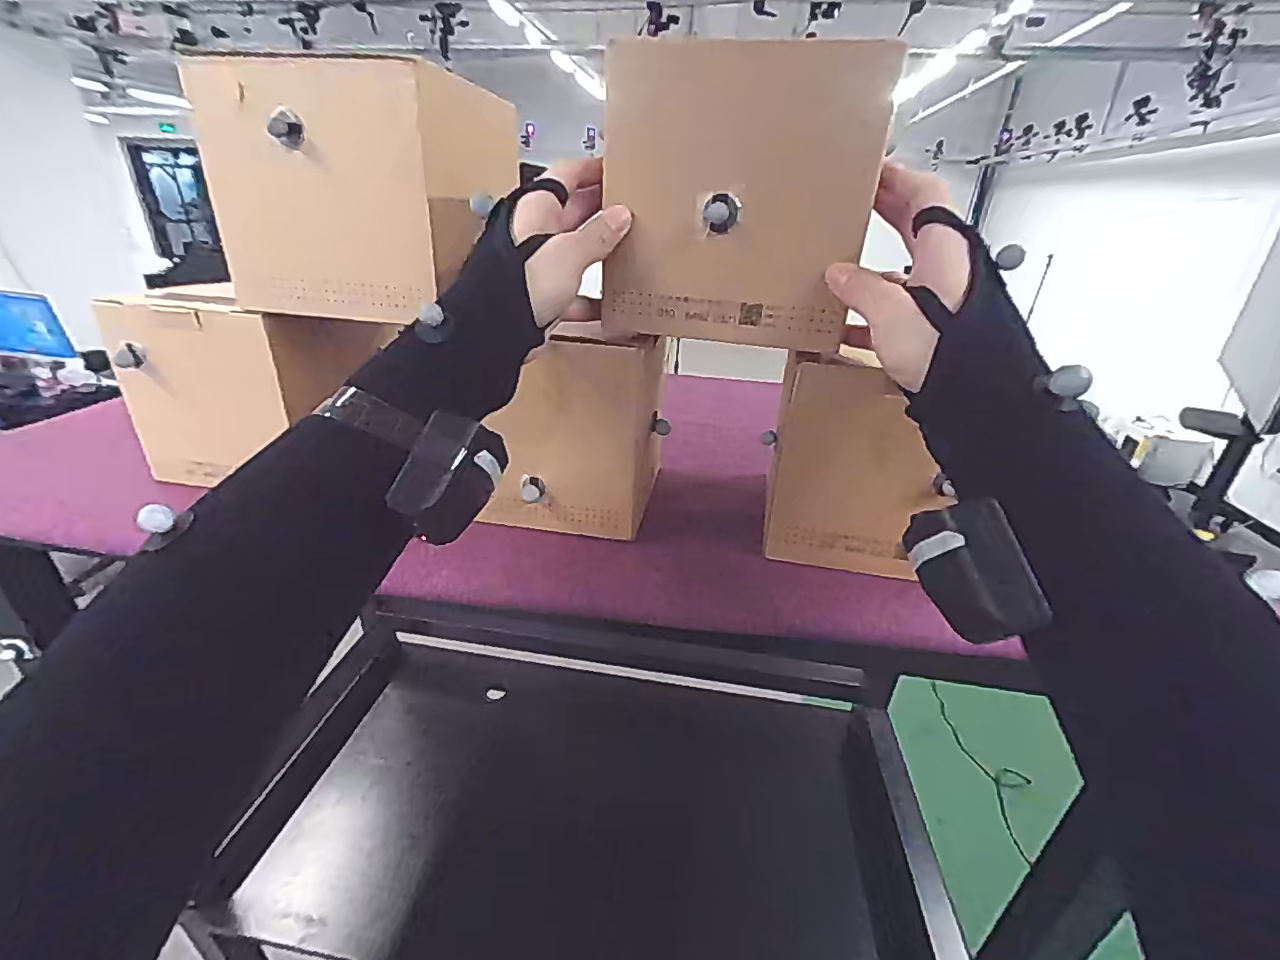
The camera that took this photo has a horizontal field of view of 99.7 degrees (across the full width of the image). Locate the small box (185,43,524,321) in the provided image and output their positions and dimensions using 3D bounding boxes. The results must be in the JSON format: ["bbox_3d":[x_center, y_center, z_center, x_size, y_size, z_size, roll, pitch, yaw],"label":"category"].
[{"bbox_3d":[-0.209,-0.231,0.449,0.179,0.176,0.168,8,26,9],"label":"small box"}]

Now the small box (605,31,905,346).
[{"bbox_3d":[0.077,-0.205,0.403,0.168,0.176,0.179,10,29,11],"label":"small box"}]

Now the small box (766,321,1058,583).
[{"bbox_3d":[0.204,-0.034,0.463,0.168,0.176,0.179,8,27,11],"label":"small box"}]
